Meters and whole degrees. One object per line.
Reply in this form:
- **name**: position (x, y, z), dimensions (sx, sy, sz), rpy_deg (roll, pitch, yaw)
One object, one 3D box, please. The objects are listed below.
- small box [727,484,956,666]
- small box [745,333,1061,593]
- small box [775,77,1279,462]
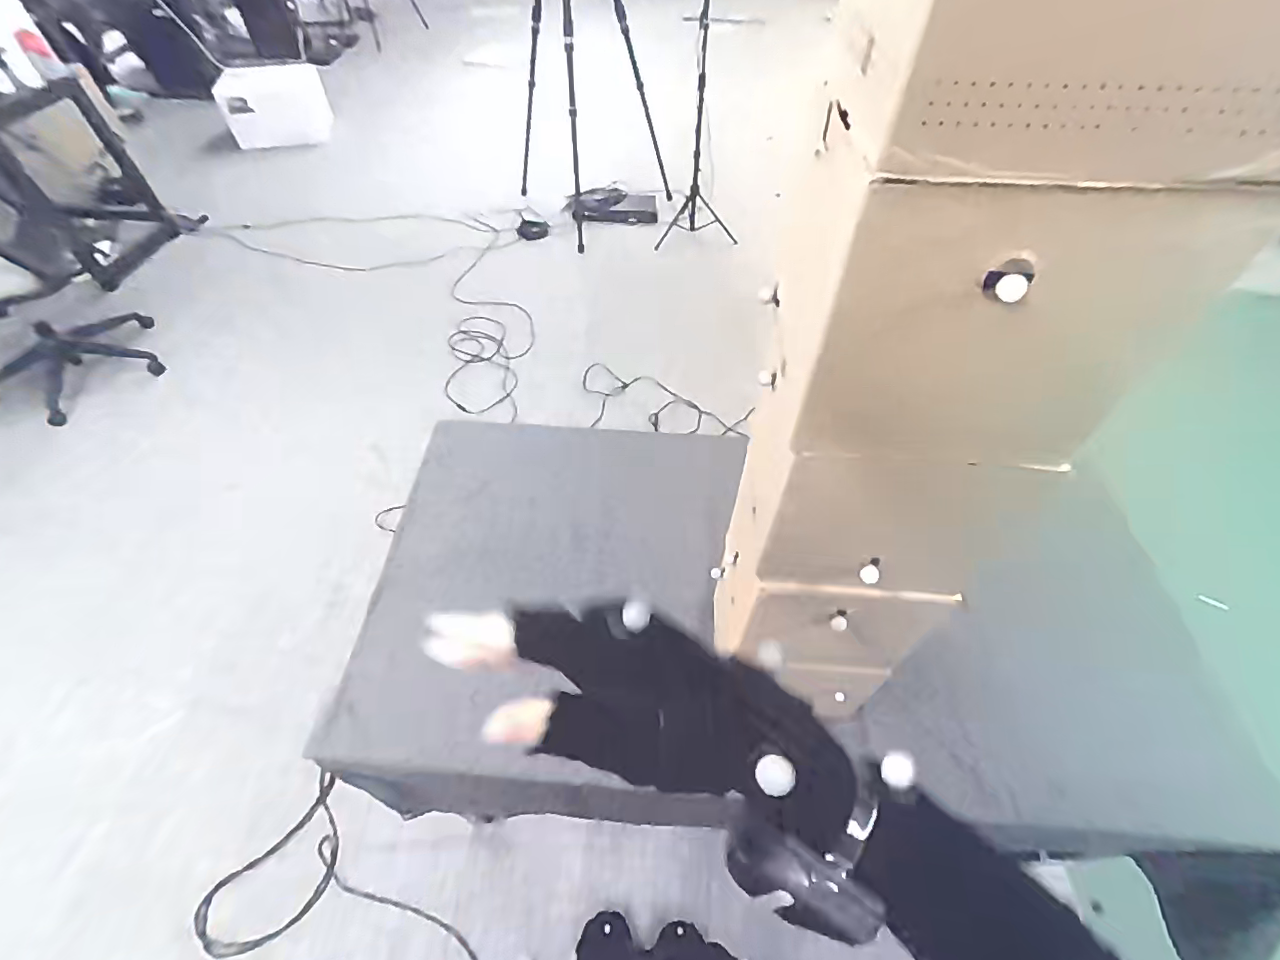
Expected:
- **small box**: position (0.194, 0.090, 0.583), dimensions (0.179, 0.176, 0.168), rpy_deg (3, 51, 3)
- **small box**: position (0.191, -0.019, 0.460), dimensions (0.179, 0.176, 0.168), rpy_deg (5, 50, 3)
- **small box**: position (0.186, -0.126, 0.337), dimensions (0.179, 0.176, 0.168), rpy_deg (3, 51, 3)
